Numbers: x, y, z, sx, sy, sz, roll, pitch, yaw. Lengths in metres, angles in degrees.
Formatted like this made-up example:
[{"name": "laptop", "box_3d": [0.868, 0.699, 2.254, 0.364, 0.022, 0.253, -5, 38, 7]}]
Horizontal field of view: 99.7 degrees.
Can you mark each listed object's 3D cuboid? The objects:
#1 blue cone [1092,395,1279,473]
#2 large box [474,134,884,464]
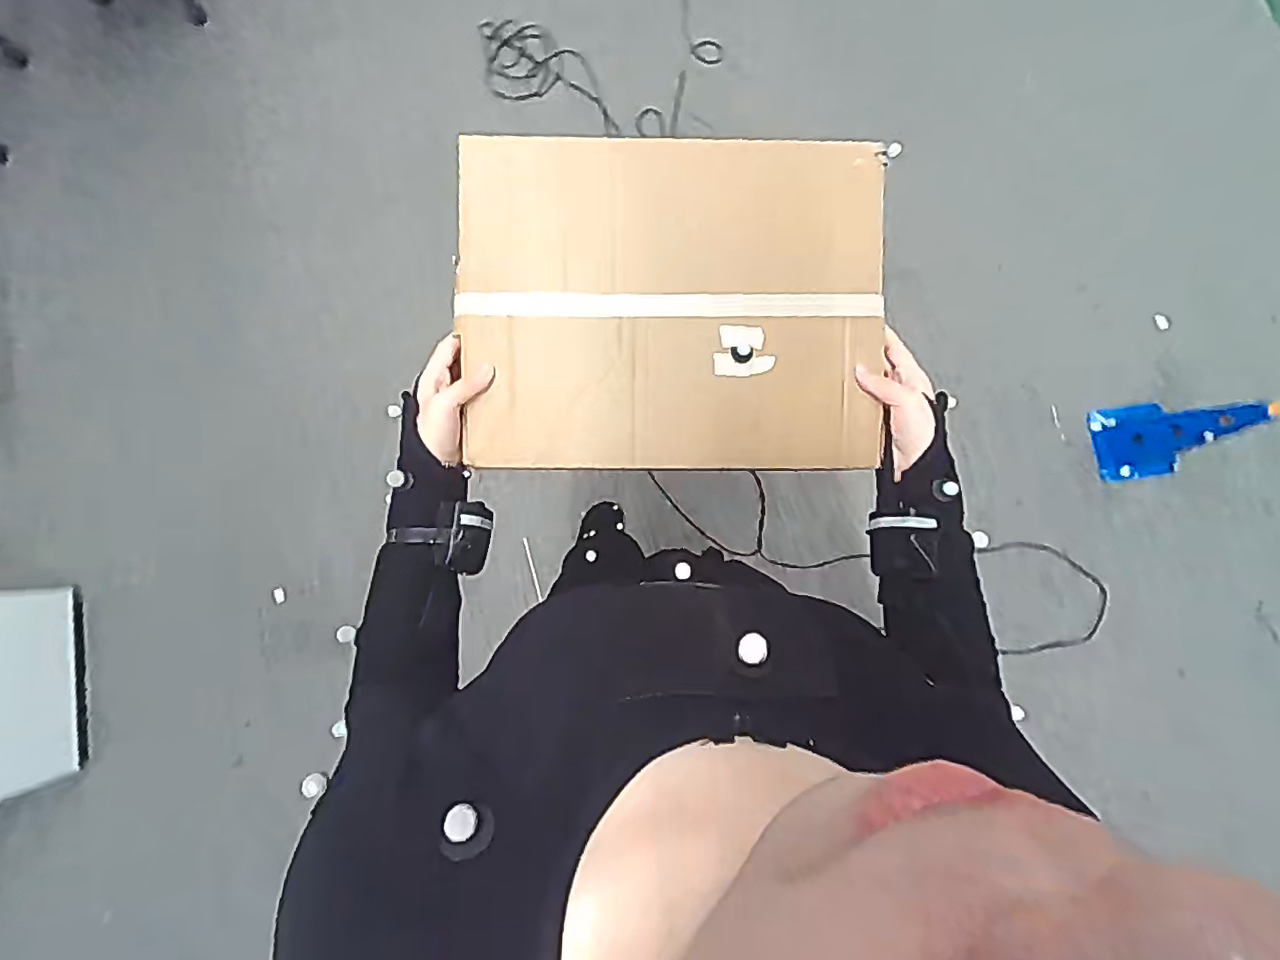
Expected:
[{"name": "blue cone", "box_3d": [1.332, -0.137, 1.309, 0.192, 0.380, 0.193, -7, 82, 2]}, {"name": "large box", "box_3d": [0.032, -0.178, 0.672, 0.408, 0.320, 0.320, 1, 92, -2]}]
